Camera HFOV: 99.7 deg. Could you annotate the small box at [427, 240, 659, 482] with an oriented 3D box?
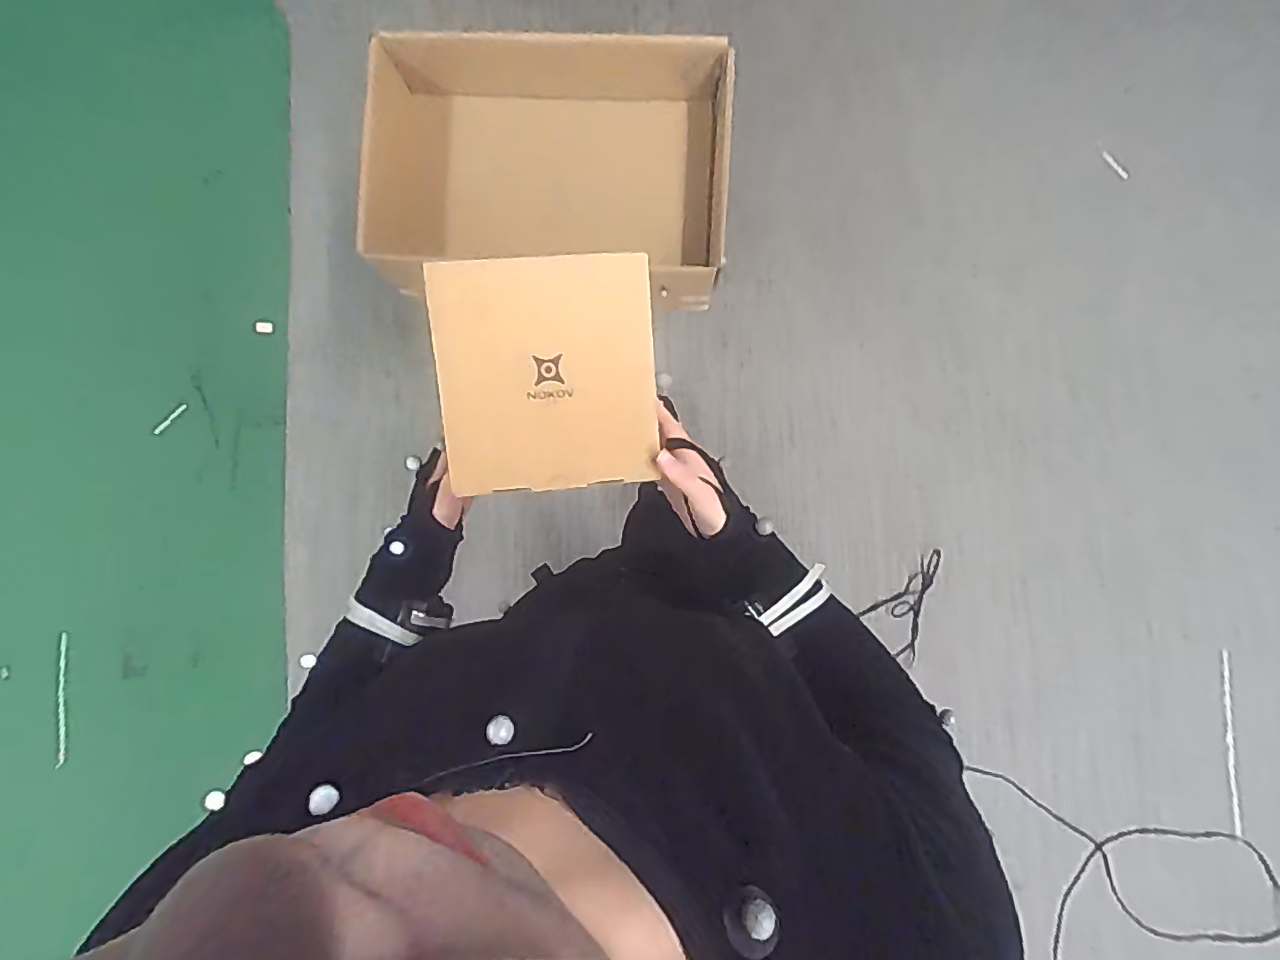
[{"bbox_3d":[-0.078,-0.101,0.493,0.168,0.176,0.179,-5,100,-4],"label":"small box"}]
